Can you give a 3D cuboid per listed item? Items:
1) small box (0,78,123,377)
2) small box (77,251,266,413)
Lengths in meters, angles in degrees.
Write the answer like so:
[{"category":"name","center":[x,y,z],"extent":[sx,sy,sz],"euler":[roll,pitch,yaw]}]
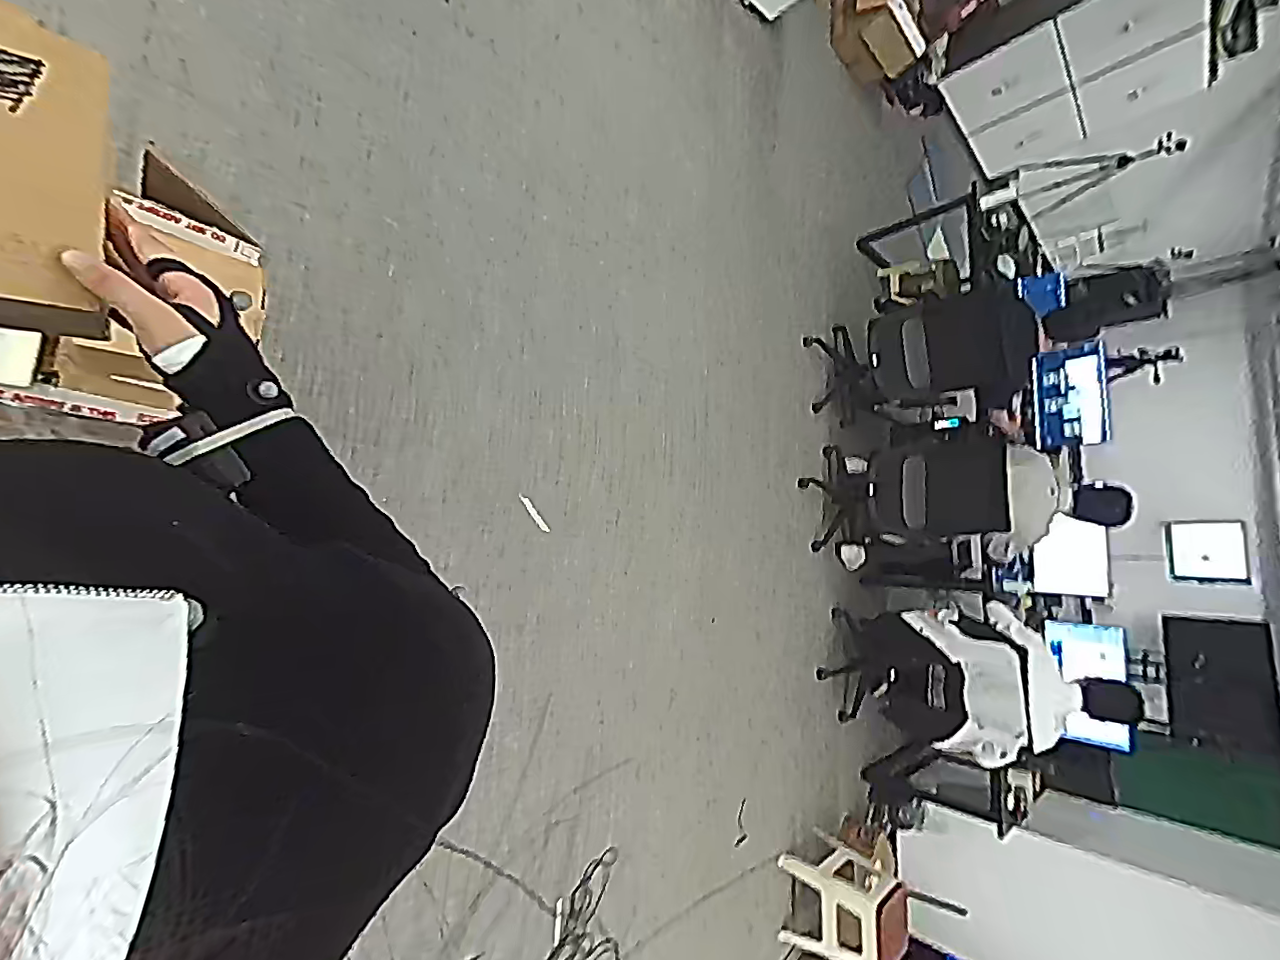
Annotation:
[{"category":"small box","center":[-0.487,-0.176,0.388],"extent":[0.168,0.176,0.179],"euler":[-1,95,-44]},{"category":"small box","center":[-0.662,-0.195,0.767],"extent":[0.179,0.176,0.168],"euler":[9,81,-45]}]
